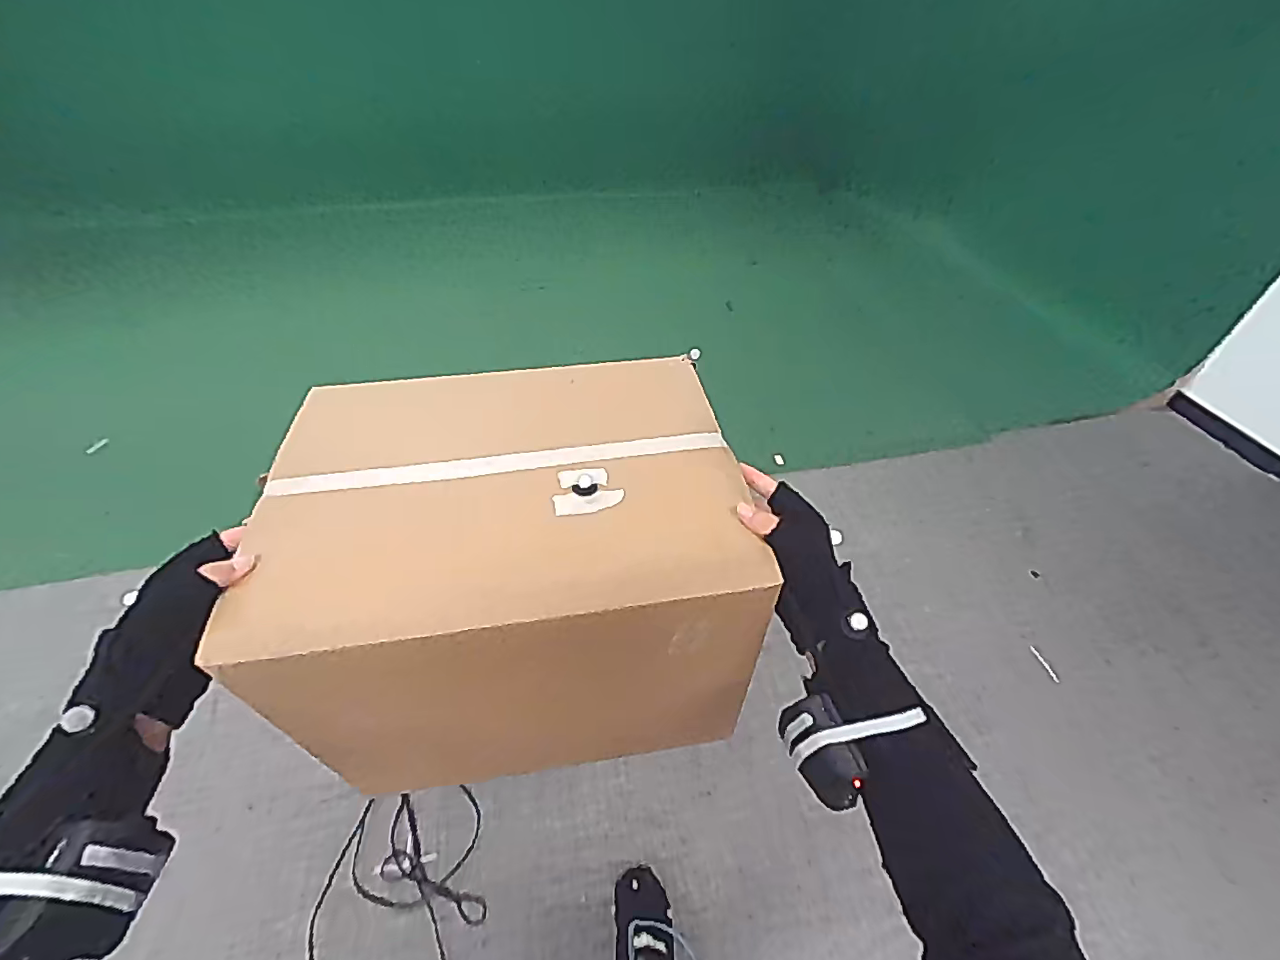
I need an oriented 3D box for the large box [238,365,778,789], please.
[{"bbox_3d":[-0.115,0.099,0.604,0.408,0.320,0.320,-6,46,-8],"label":"large box"}]
